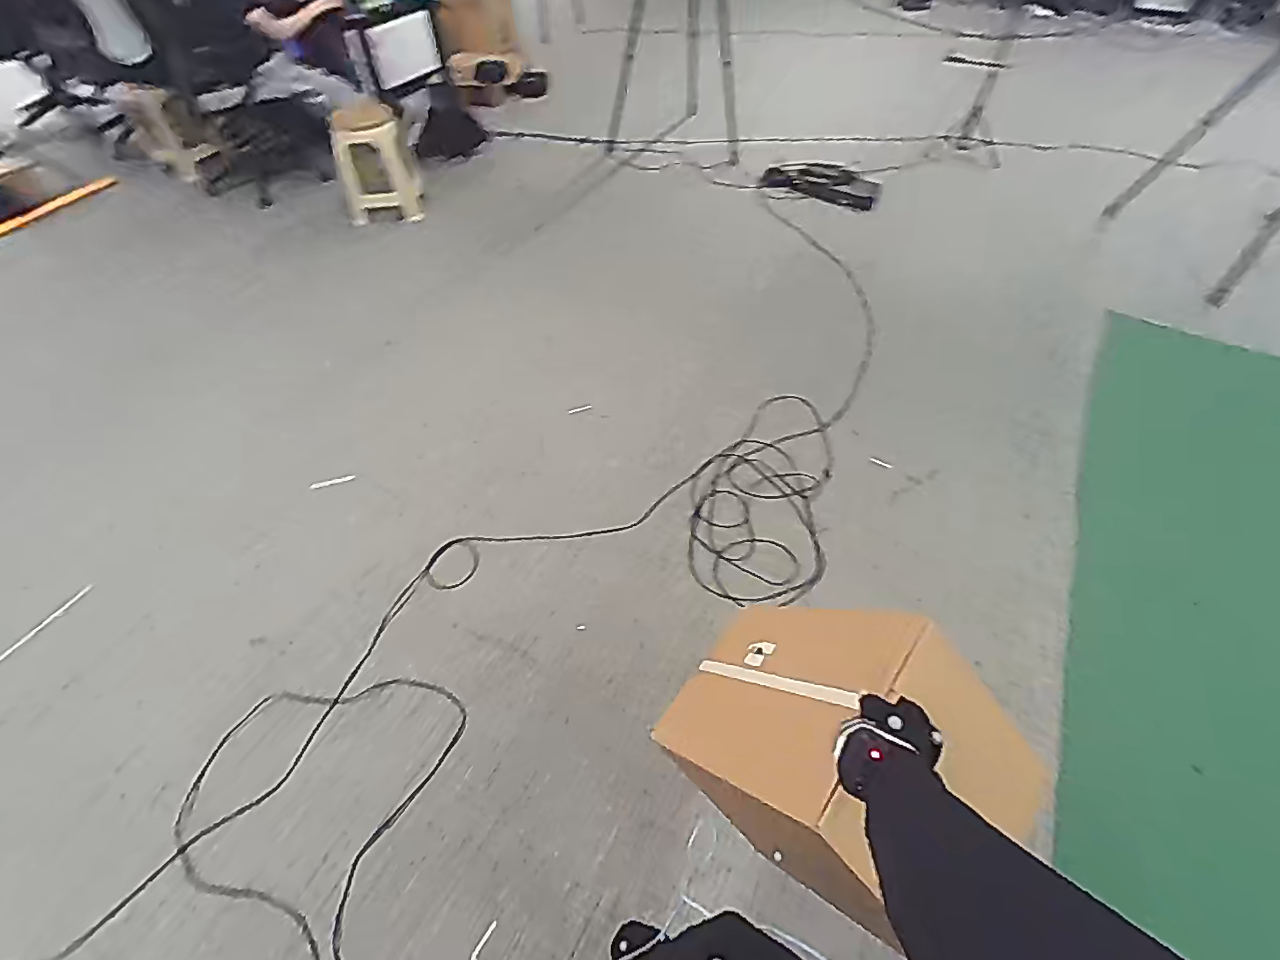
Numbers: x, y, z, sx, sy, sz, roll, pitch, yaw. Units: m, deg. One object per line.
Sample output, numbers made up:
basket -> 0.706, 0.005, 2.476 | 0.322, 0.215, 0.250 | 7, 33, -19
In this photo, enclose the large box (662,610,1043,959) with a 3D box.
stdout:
large box -> 0.314, 0.431, 0.863 | 0.320, 0.408, 0.320 | -44, 99, -25
